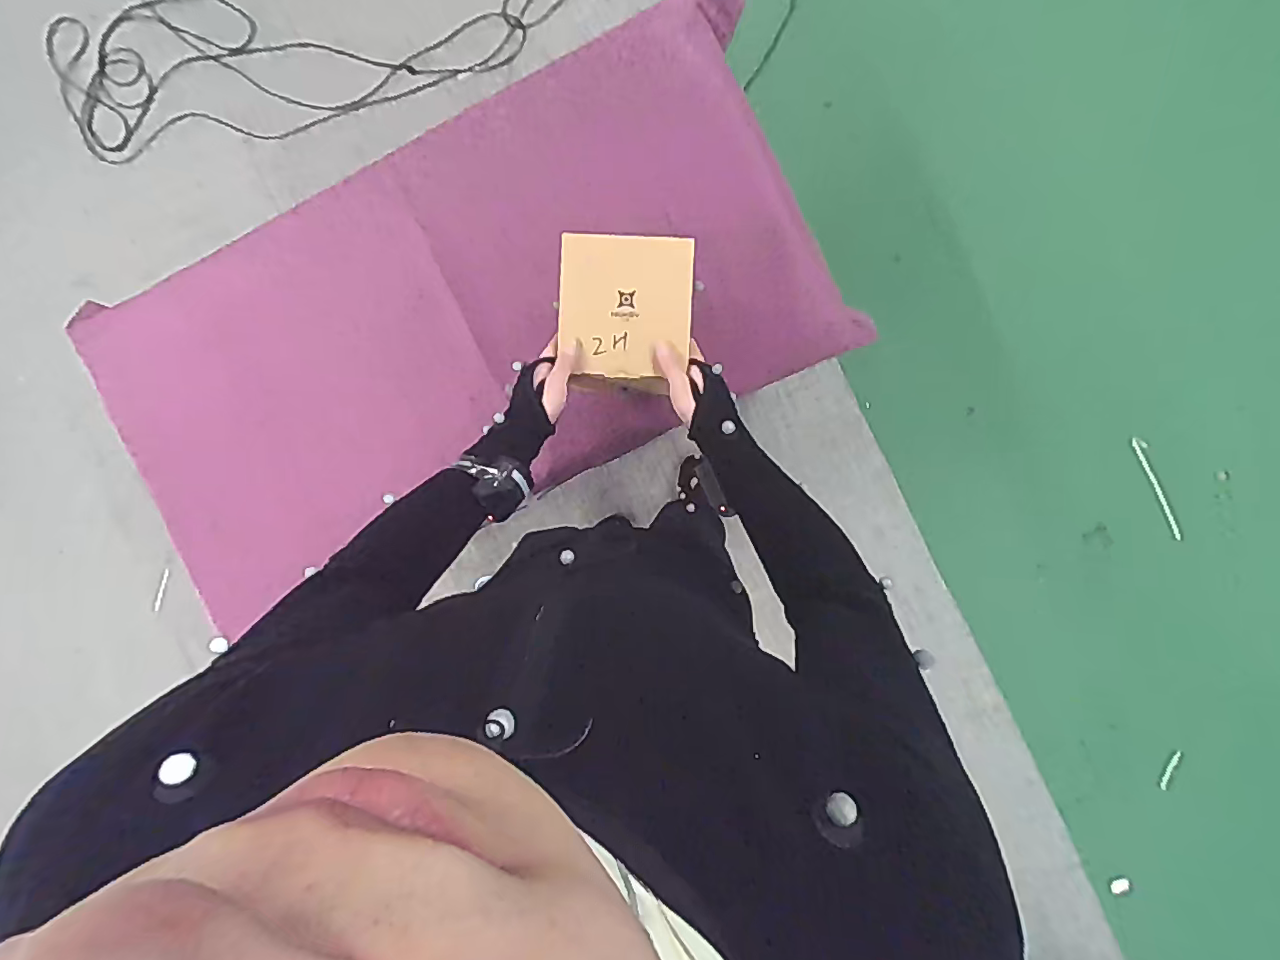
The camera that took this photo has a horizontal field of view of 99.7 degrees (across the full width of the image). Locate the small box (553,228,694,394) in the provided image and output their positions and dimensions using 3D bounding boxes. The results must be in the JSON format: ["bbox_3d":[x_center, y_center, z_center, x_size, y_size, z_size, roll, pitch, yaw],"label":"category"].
[{"bbox_3d":[-0.021,-0.219,0.744,0.168,0.176,0.179,4,93,1],"label":"small box"}]
